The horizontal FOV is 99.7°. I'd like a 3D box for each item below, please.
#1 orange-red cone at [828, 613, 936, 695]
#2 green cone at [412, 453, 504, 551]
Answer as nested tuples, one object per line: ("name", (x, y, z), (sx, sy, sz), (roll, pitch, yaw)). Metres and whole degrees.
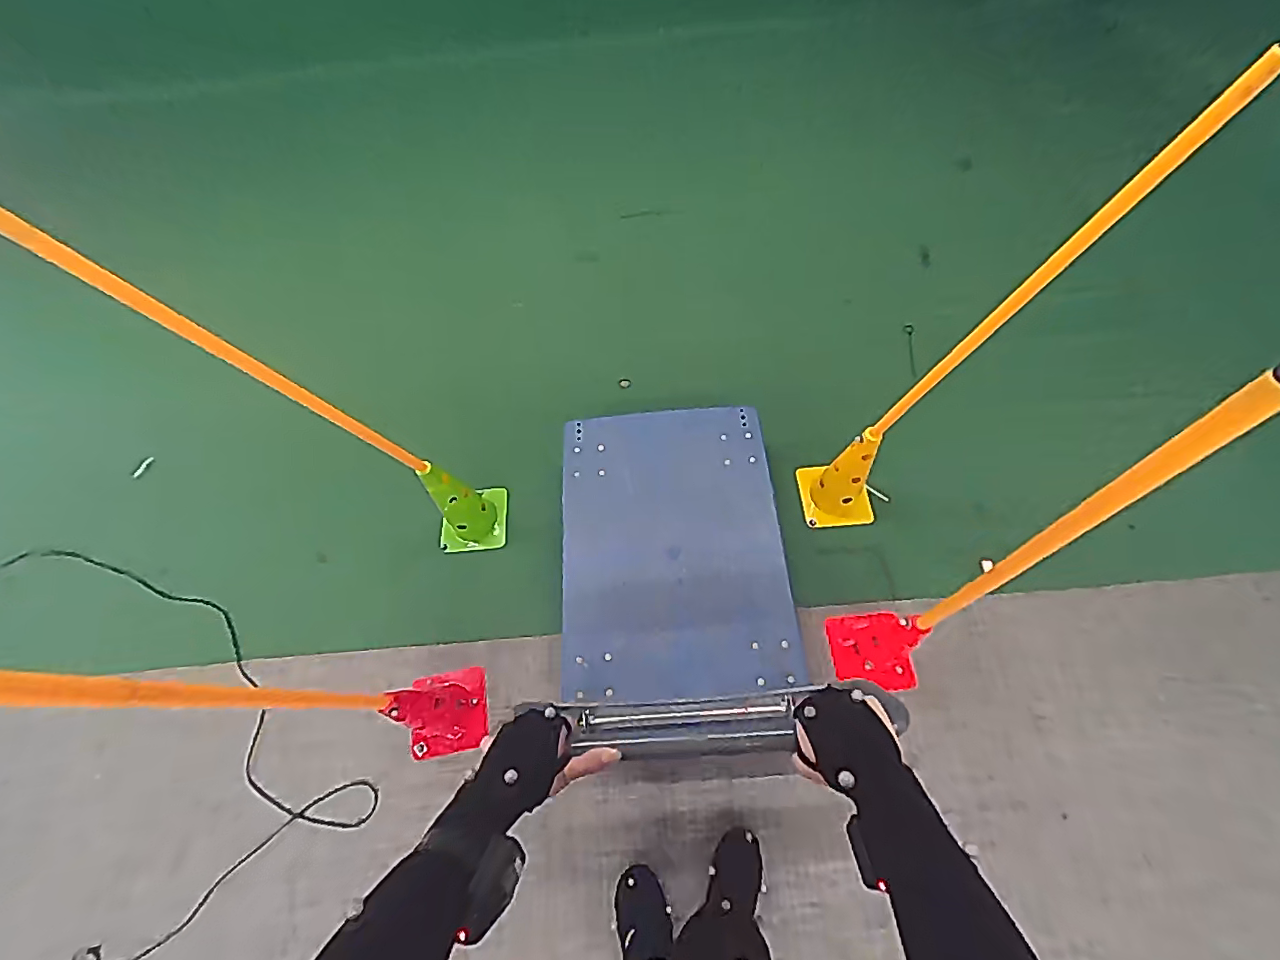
("orange-red cone", (0.589, 0.368, 1.249), (0.198, 0.360, 0.199), (-5, 61, 1))
("green cone", (-0.527, 0.037, 1.493), (0.200, 0.368, 0.202), (-6, 62, 2))
